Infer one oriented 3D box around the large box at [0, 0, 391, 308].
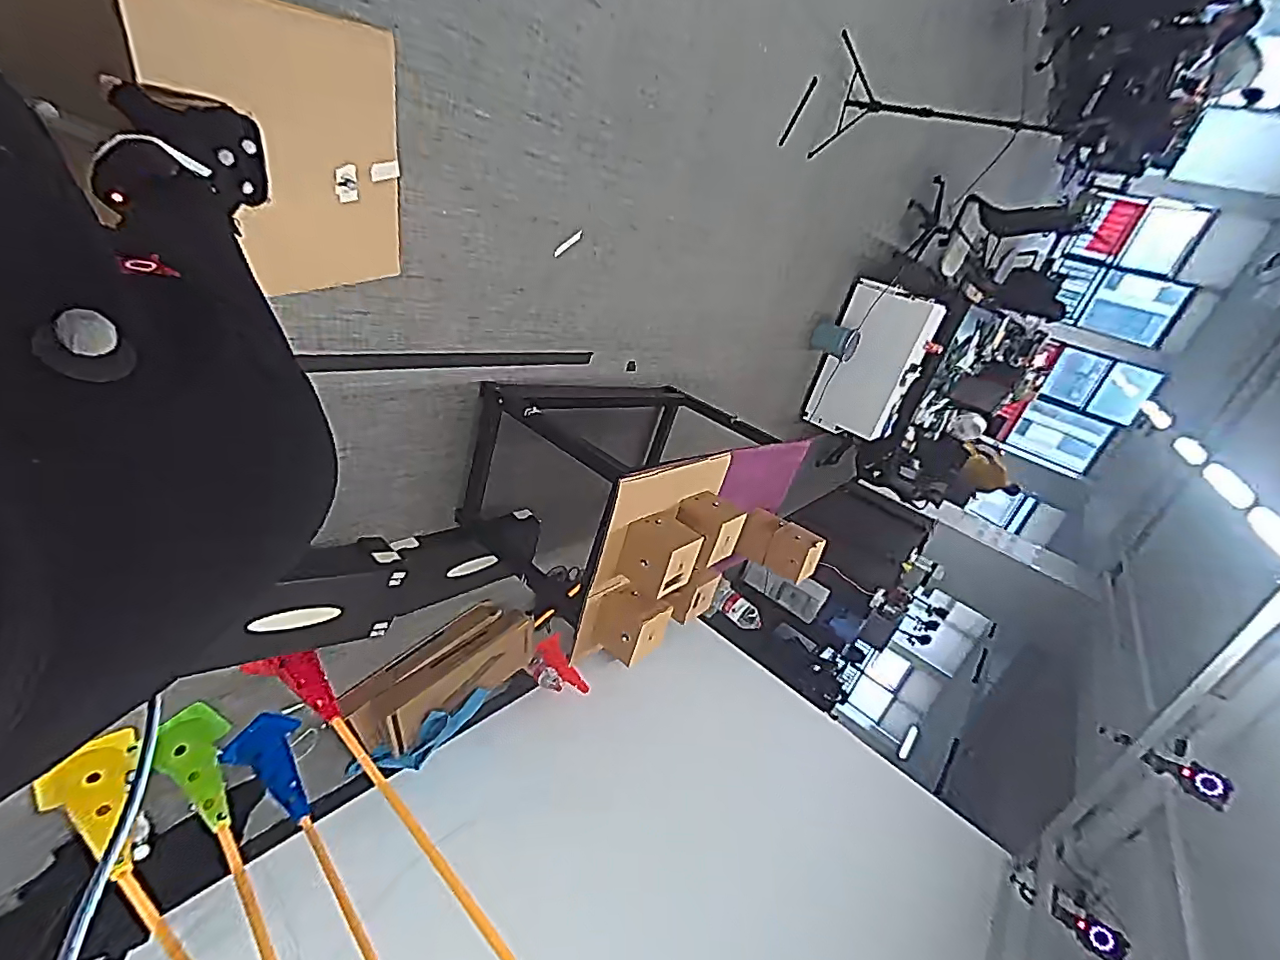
[{"bbox_3d":[-0.601,-0.462,0.712,0.320,0.408,0.320,-44,154,-53],"label":"large box"}]
